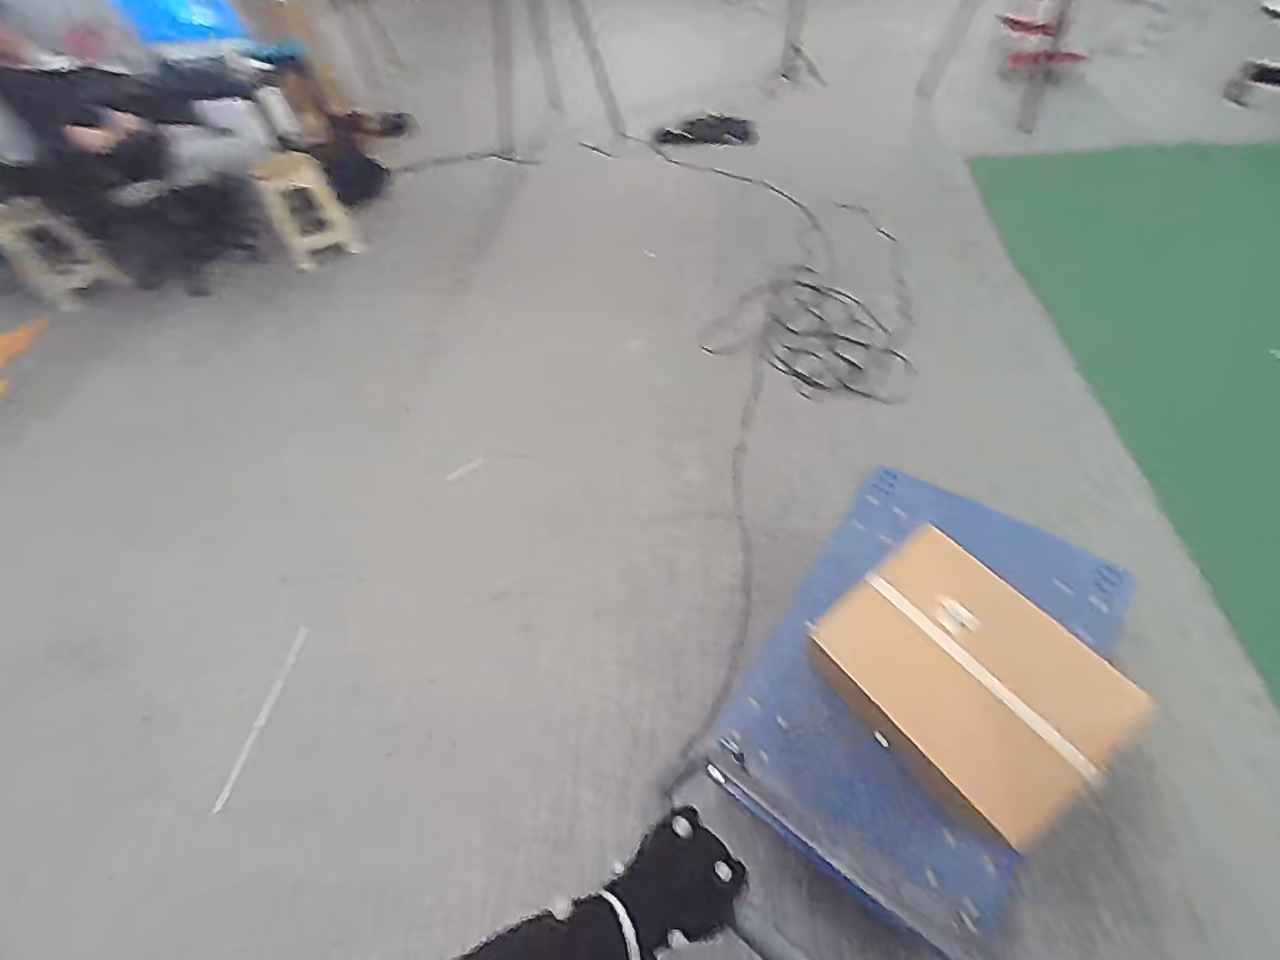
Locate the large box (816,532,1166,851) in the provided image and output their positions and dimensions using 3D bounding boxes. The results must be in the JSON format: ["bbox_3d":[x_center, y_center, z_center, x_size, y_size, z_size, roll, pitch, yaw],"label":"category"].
[{"bbox_3d":[0.587,0.379,1.006,0.320,0.320,0.408,-39,58,-6],"label":"large box"}]
